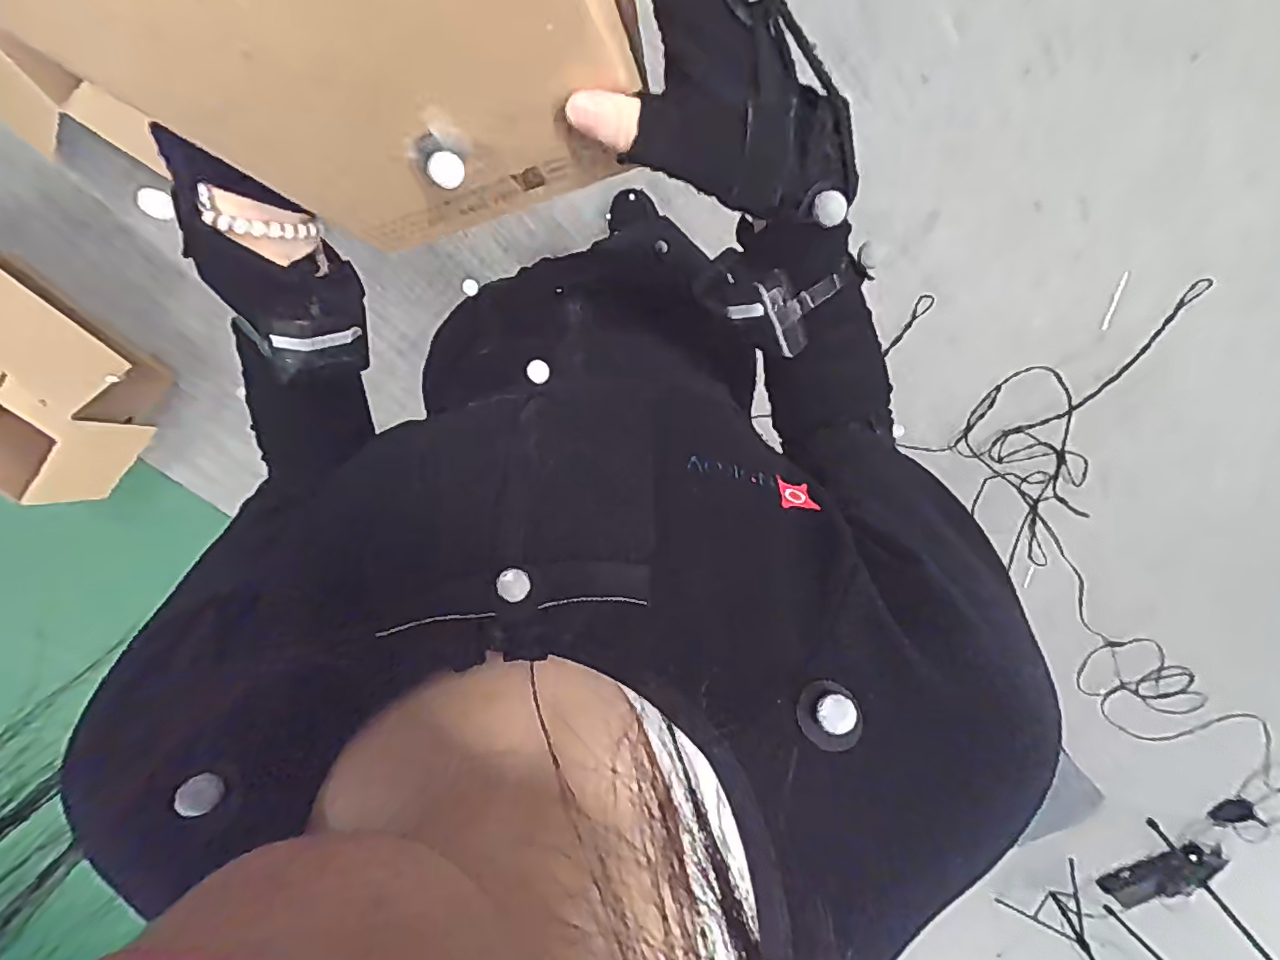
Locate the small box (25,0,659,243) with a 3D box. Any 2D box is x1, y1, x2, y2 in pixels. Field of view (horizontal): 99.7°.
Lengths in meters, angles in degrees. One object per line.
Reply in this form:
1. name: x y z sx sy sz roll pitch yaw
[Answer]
1. small box: -0.100 -0.230 0.211 0.168 0.176 0.179 -9 84 18
